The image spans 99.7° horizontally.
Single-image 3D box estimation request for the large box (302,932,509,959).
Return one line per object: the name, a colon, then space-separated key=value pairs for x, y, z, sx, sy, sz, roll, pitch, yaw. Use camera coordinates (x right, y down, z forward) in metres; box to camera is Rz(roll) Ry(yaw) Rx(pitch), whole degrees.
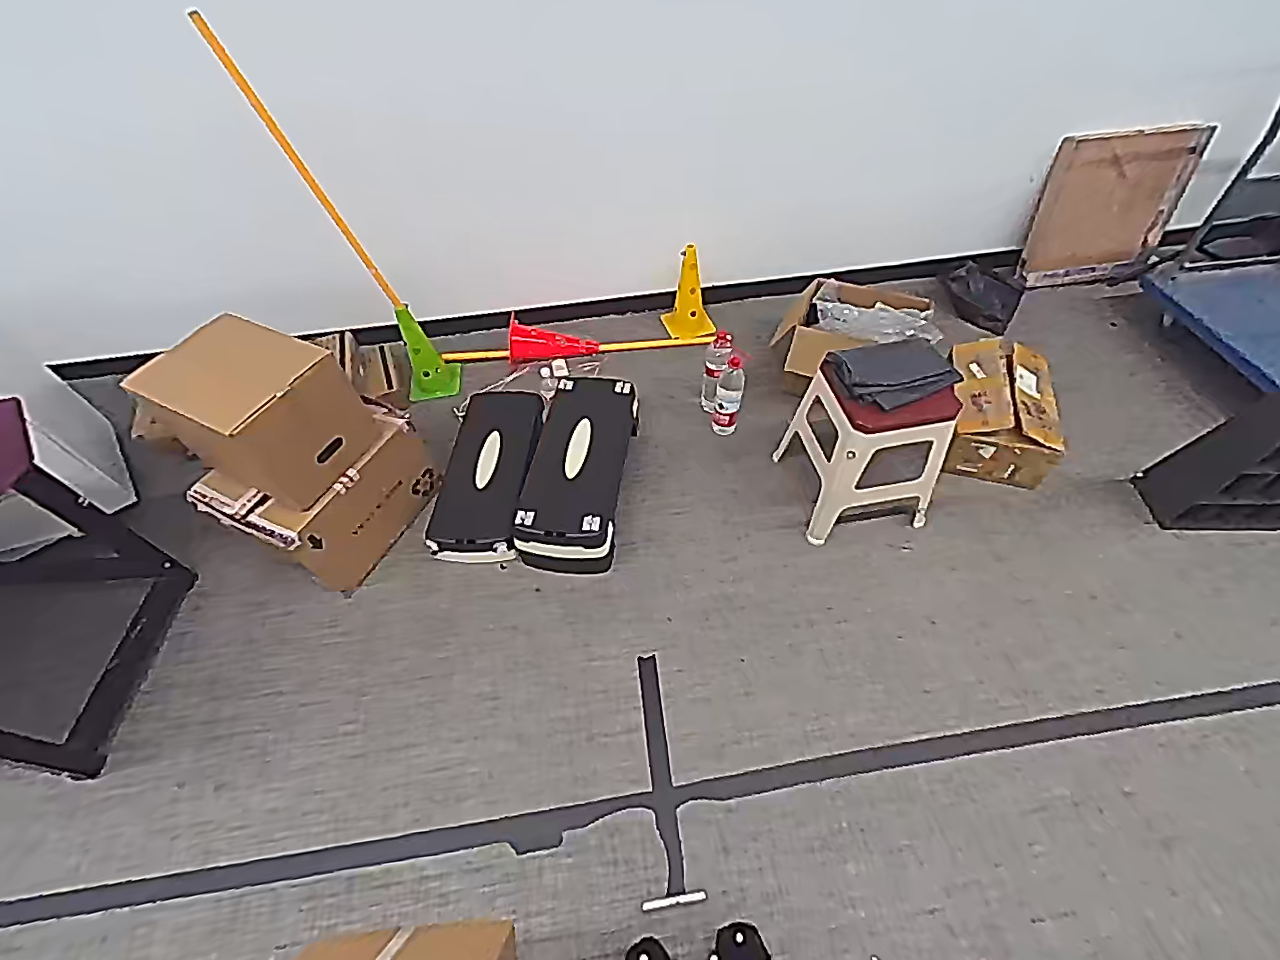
large box: x=-0.336 y=0.796 z=0.586 sx=0.320 sy=0.408 sz=0.320 roll=-8 pitch=78 yaw=1
